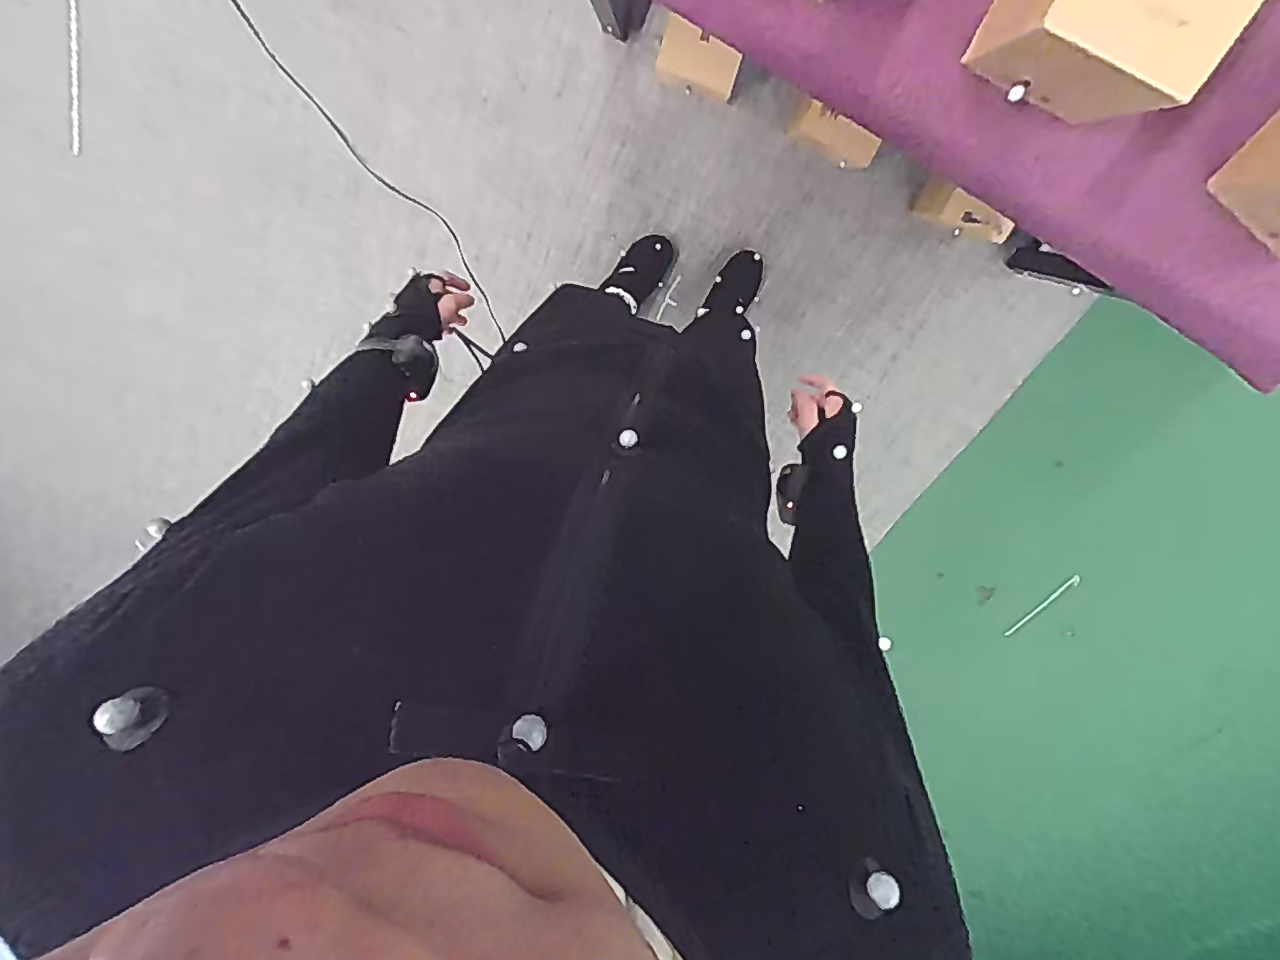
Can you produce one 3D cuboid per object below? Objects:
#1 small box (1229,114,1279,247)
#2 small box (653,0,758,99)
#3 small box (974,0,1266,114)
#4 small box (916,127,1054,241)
[{"bbox_3d":[0.807,-0.351,0.573,0.168,0.176,0.179,31,115,-12],"label":"small box"},{"bbox_3d":[0.135,-0.928,1.128,0.168,0.176,0.179,17,118,-6],"label":"small box"},{"bbox_3d":[0.472,-0.490,0.519,0.168,0.176,0.179,21,117,-7],"label":"small box"},{"bbox_3d":[0.768,-0.667,1.230,0.168,0.176,0.179,19,117,-7],"label":"small box"}]
